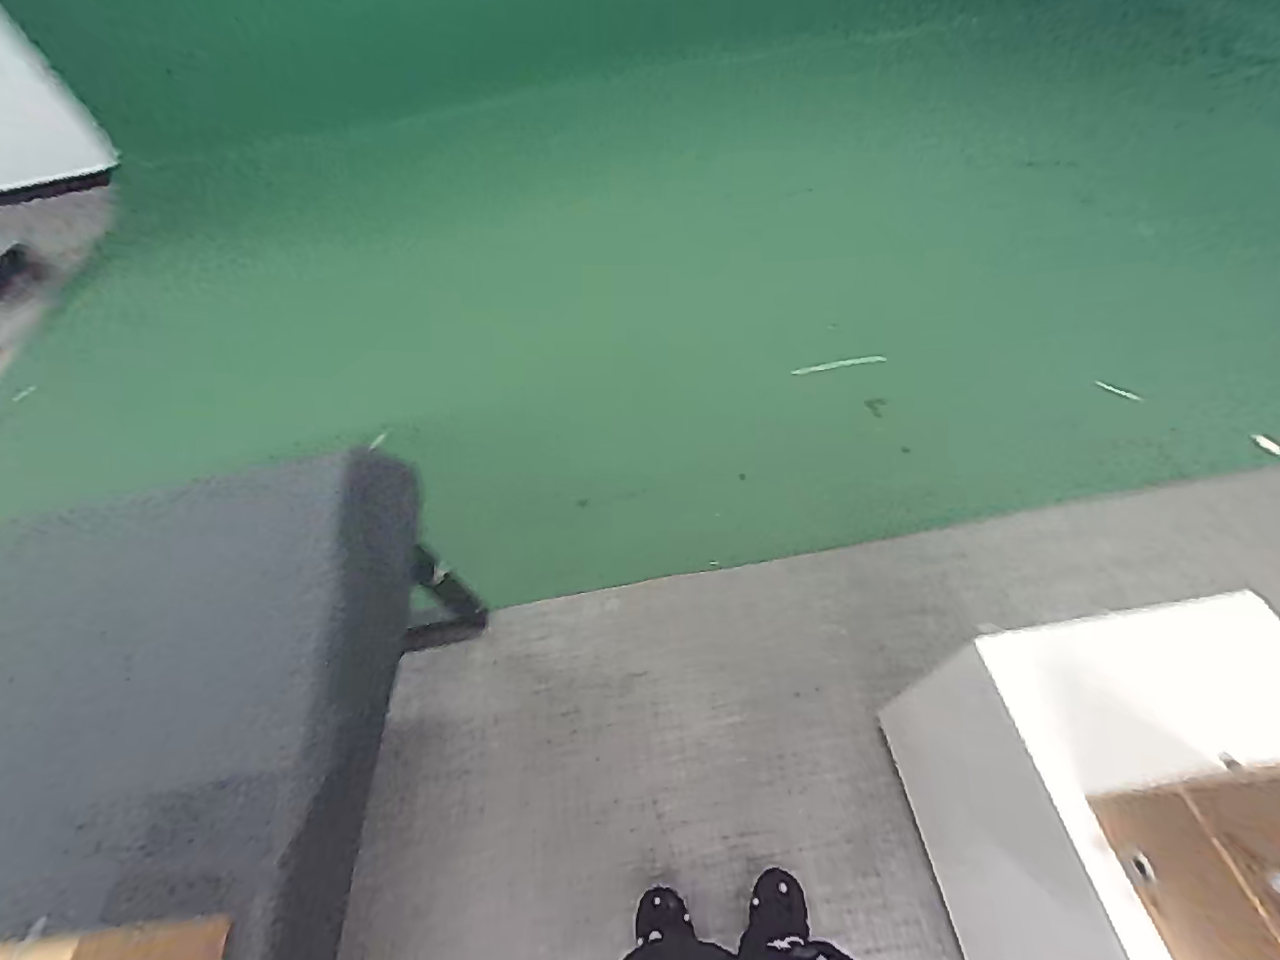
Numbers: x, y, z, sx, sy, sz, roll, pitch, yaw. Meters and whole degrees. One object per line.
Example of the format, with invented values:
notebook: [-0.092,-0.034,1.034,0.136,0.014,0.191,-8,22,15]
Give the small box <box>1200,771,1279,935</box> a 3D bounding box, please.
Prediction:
small box: [0.606,0.299,0.400,0.179,0.176,0.168,-14,56,-3]

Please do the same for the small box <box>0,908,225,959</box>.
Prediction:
small box: [-0.511,0.494,0.463,0.168,0.176,0.179,-9,57,4]

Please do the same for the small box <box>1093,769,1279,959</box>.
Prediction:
small box: [0.620,0.391,0.535,0.179,0.176,0.168,-13,55,1]
